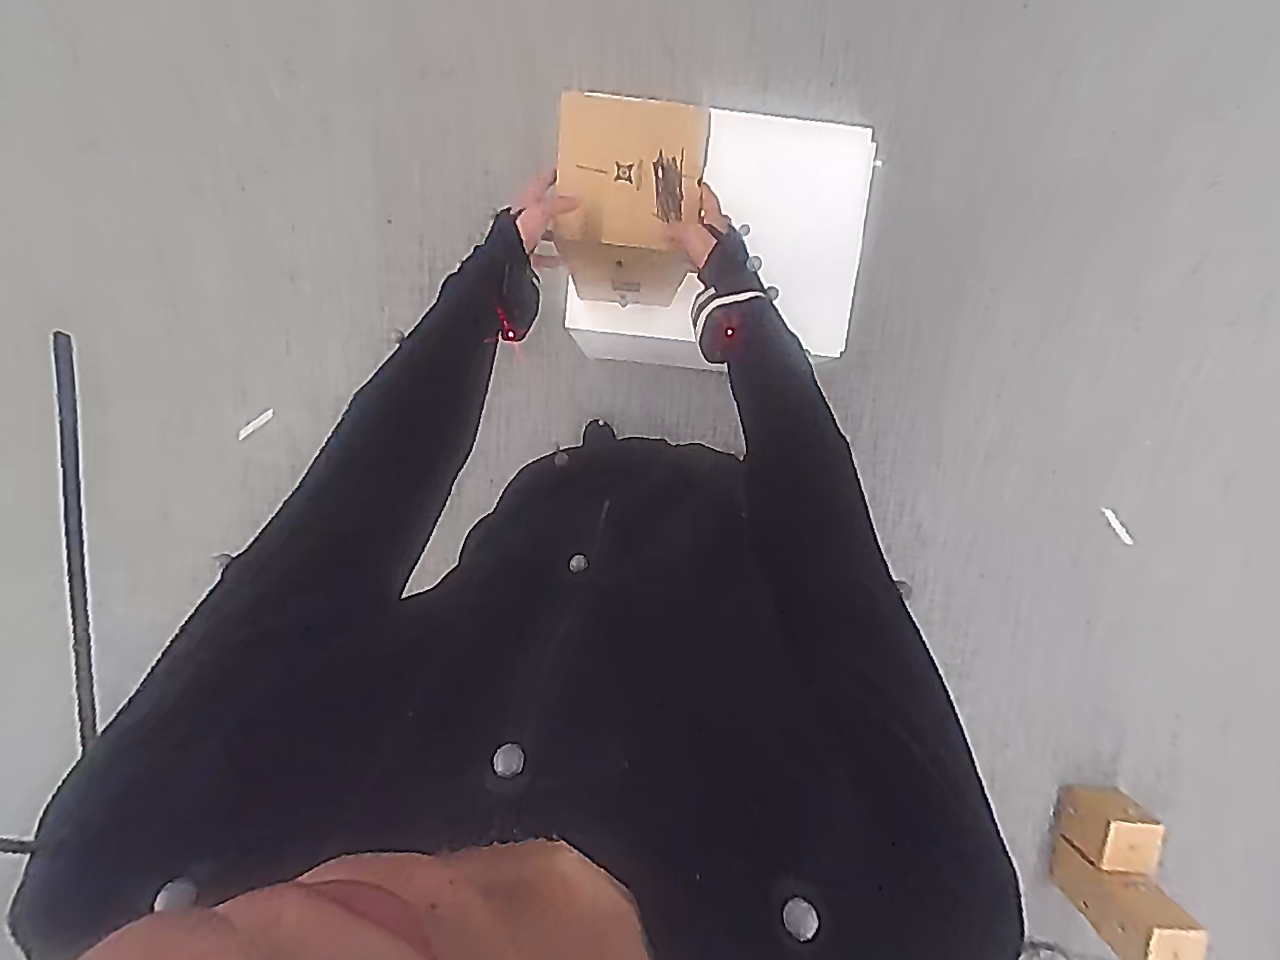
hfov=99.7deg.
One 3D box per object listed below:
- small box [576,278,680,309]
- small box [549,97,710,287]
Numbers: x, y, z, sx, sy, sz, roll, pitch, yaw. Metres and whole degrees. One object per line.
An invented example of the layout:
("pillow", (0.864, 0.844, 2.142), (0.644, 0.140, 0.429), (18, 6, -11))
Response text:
("small box", (-0.017, -0.386, 0.870), (0.168, 0.176, 0.179), (5, 98, -2))
("small box", (-0.015, -0.359, 0.708), (0.179, 0.176, 0.168), (5, 97, -1))
